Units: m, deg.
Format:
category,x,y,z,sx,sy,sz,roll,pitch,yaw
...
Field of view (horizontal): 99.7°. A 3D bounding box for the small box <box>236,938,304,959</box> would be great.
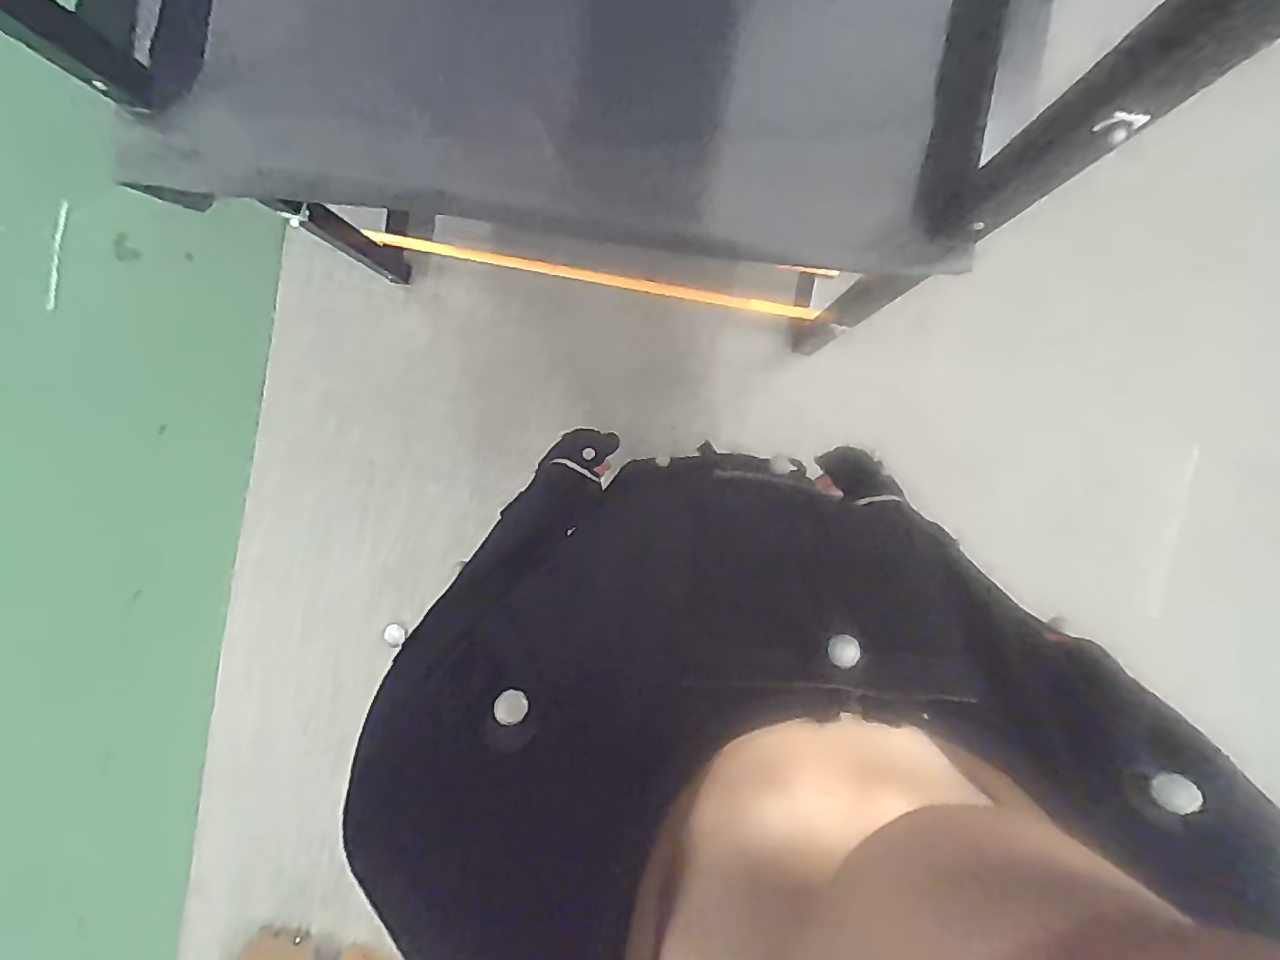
category,x,y,z,sx,sy,sz,roll,pitch,yaw
small box,-1.077,1.443,1.513,0.168,0.176,0.179,10,93,3
